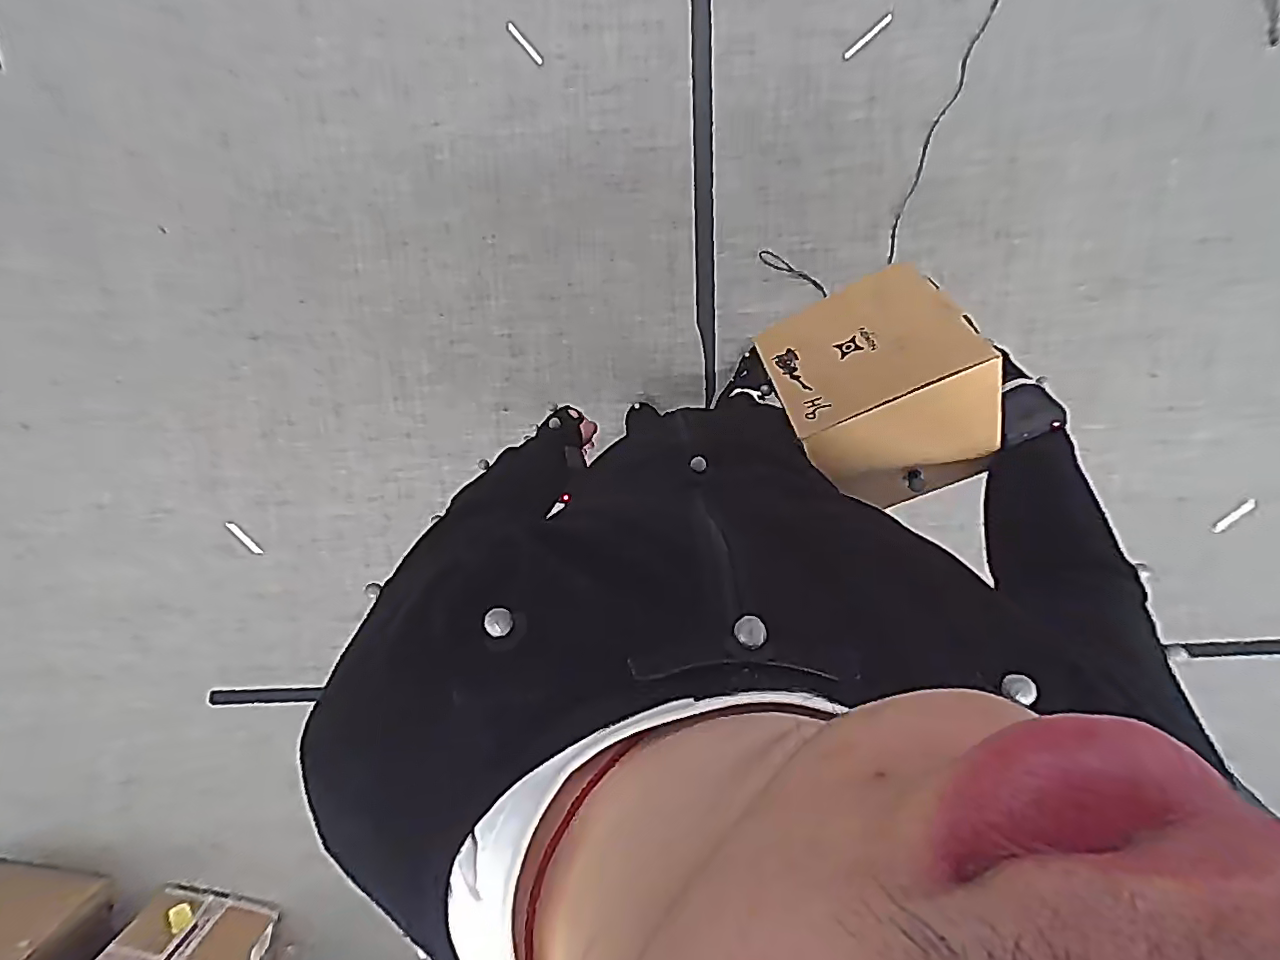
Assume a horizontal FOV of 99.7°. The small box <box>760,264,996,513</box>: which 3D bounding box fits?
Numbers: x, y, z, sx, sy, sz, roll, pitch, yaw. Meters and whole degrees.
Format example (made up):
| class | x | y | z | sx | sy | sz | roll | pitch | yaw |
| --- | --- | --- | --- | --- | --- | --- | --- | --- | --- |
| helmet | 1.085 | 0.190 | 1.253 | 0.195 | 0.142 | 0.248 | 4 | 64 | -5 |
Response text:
| class | x | y | z | sx | sy | sz | roll | pitch | yaw |
| --- | --- | --- | --- | --- | --- | --- | --- | --- | --- |
| small box | 0.255 | -0.092 | 0.594 | 0.179 | 0.168 | 0.176 | -24 | 137 | 16 |
